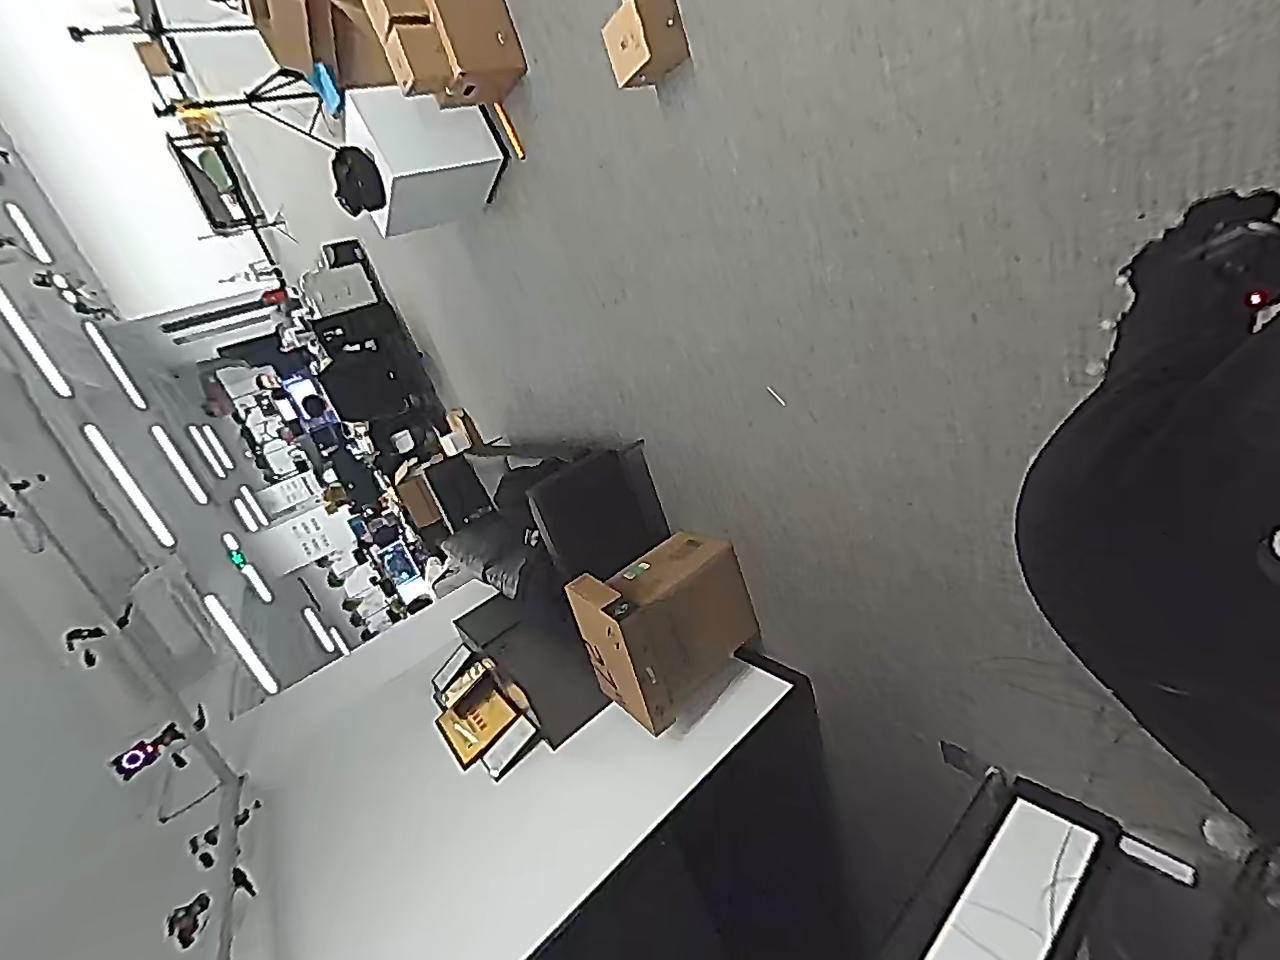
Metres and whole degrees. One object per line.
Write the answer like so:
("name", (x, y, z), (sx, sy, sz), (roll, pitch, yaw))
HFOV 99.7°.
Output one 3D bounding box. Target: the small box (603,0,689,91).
("small box", (0.020, -1.338, 1.667), (0.179, 0.176, 0.168), (6, 122, 55))
